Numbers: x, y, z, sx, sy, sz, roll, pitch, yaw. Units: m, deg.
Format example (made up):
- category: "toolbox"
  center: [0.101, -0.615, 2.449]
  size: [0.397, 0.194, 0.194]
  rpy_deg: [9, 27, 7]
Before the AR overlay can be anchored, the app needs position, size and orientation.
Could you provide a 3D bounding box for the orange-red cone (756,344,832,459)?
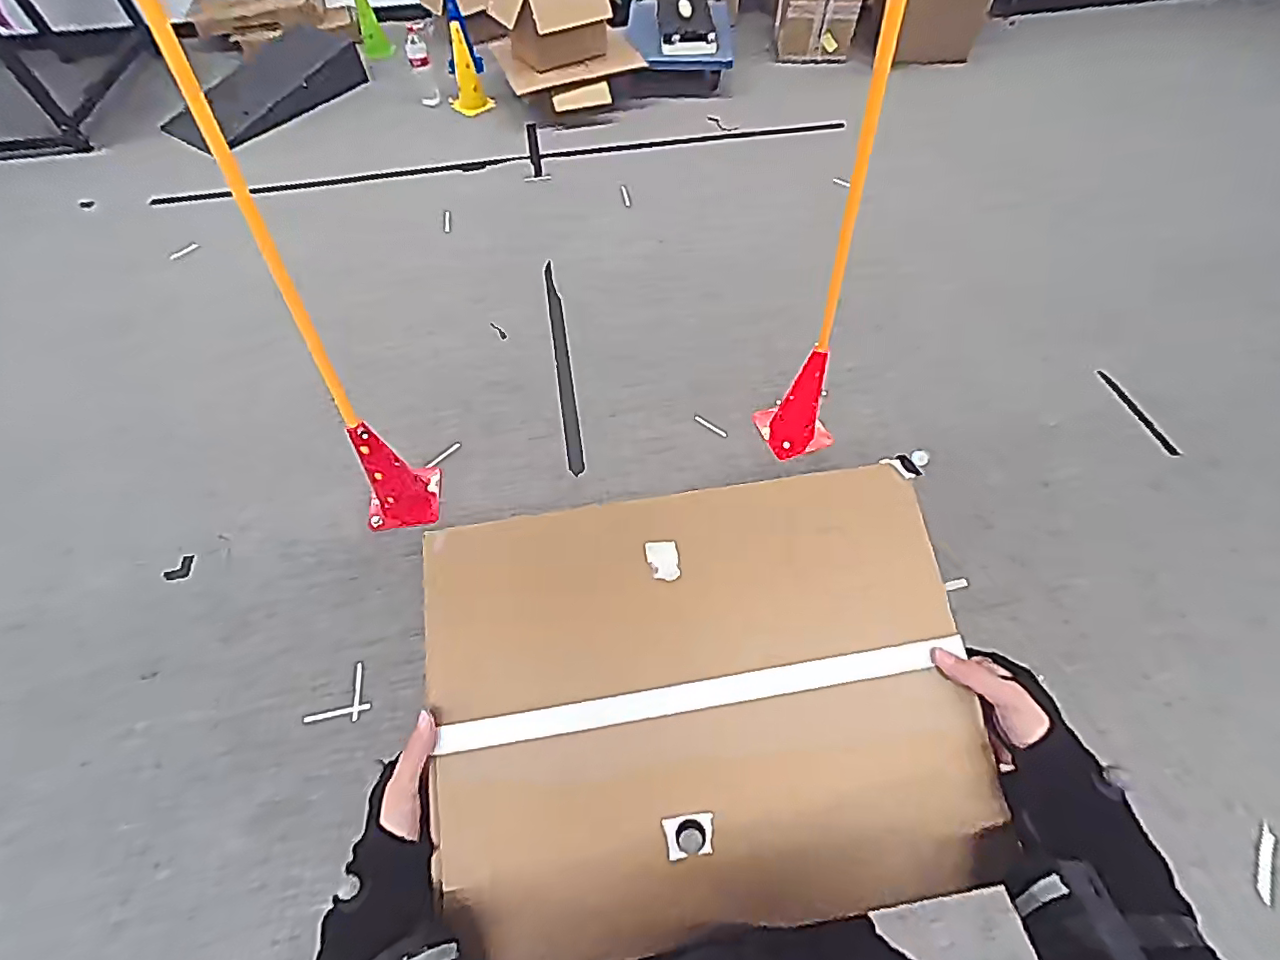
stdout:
- category: "orange-red cone"
  center: [0.491, -0.254, 1.579]
  size: [0.199, 0.360, 0.198]
  rpy_deg: [-16, 60, -11]
